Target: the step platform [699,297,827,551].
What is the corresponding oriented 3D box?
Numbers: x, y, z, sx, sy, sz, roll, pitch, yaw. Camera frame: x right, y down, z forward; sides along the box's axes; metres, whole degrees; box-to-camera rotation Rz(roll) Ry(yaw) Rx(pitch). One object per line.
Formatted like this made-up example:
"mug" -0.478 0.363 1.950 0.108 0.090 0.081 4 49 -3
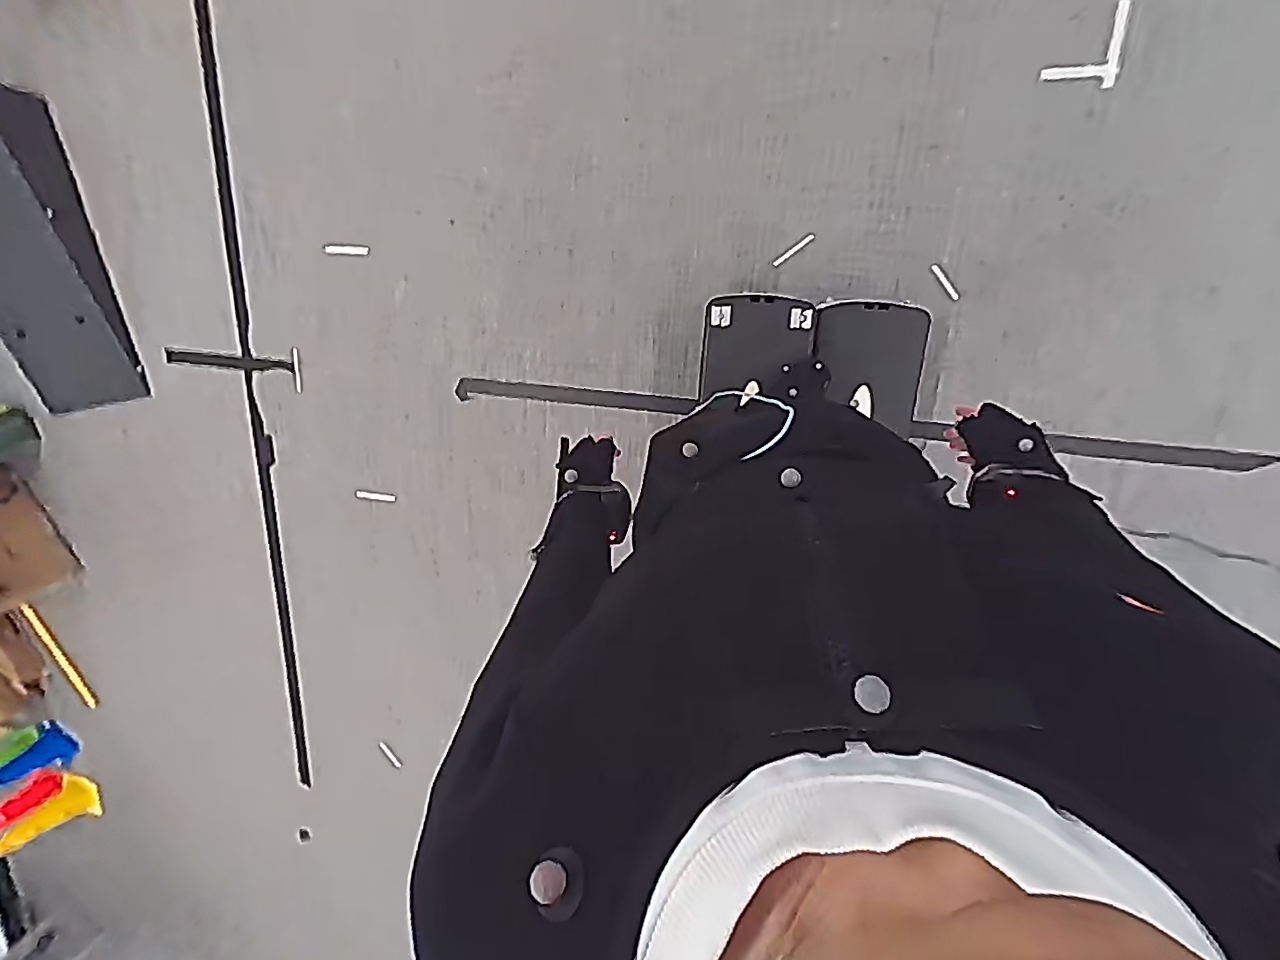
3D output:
"step platform" 0.326 -0.147 1.492 0.286 0.204 0.684 5 104 9
